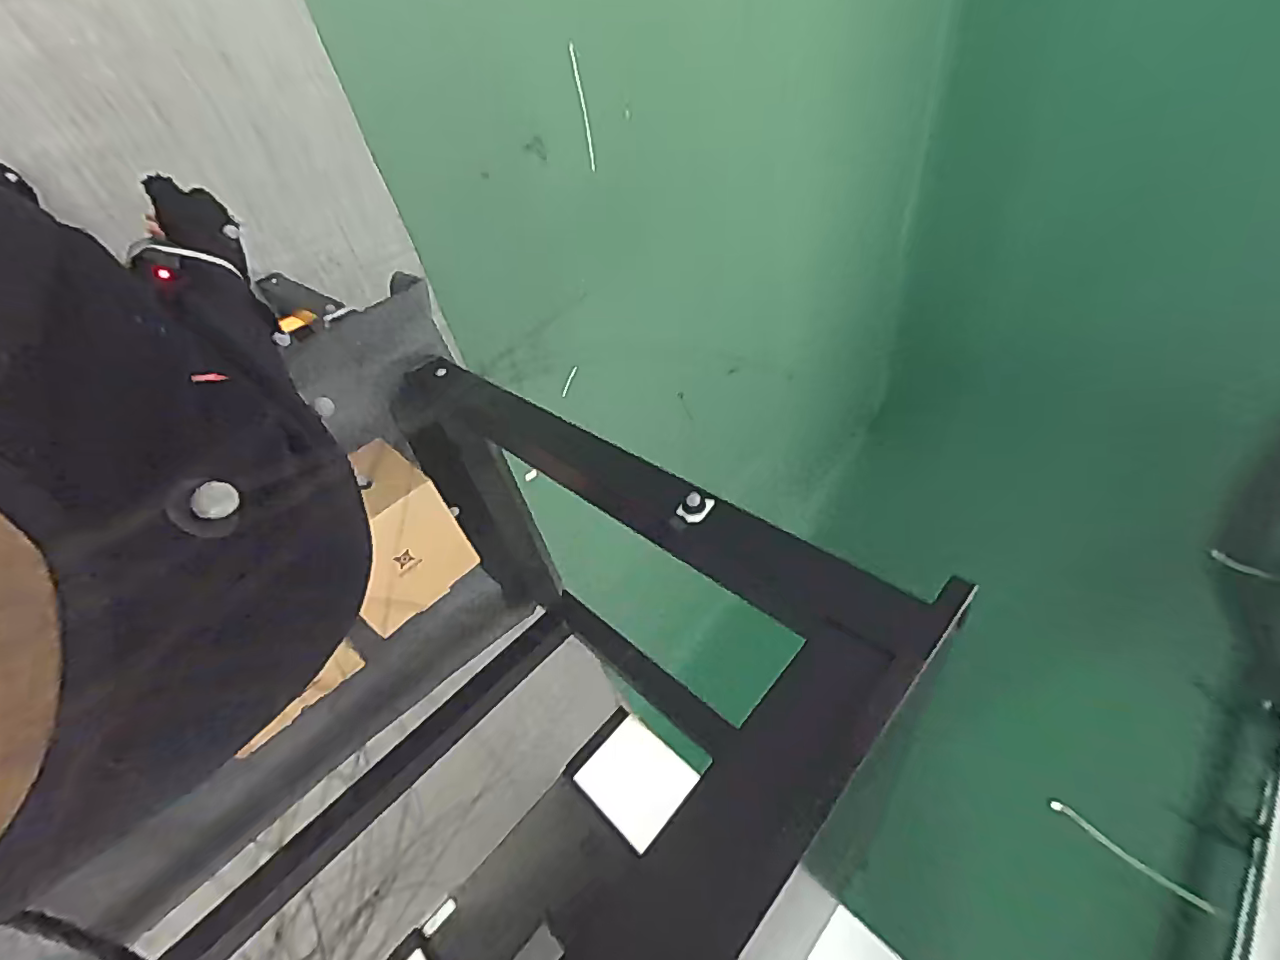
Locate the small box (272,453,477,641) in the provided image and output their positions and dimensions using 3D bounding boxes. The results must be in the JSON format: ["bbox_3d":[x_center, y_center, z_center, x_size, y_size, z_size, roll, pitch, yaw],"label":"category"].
[{"bbox_3d":[-0.367,0.081,0.756,0.168,0.176,0.179,-40,139,-26],"label":"small box"}]
